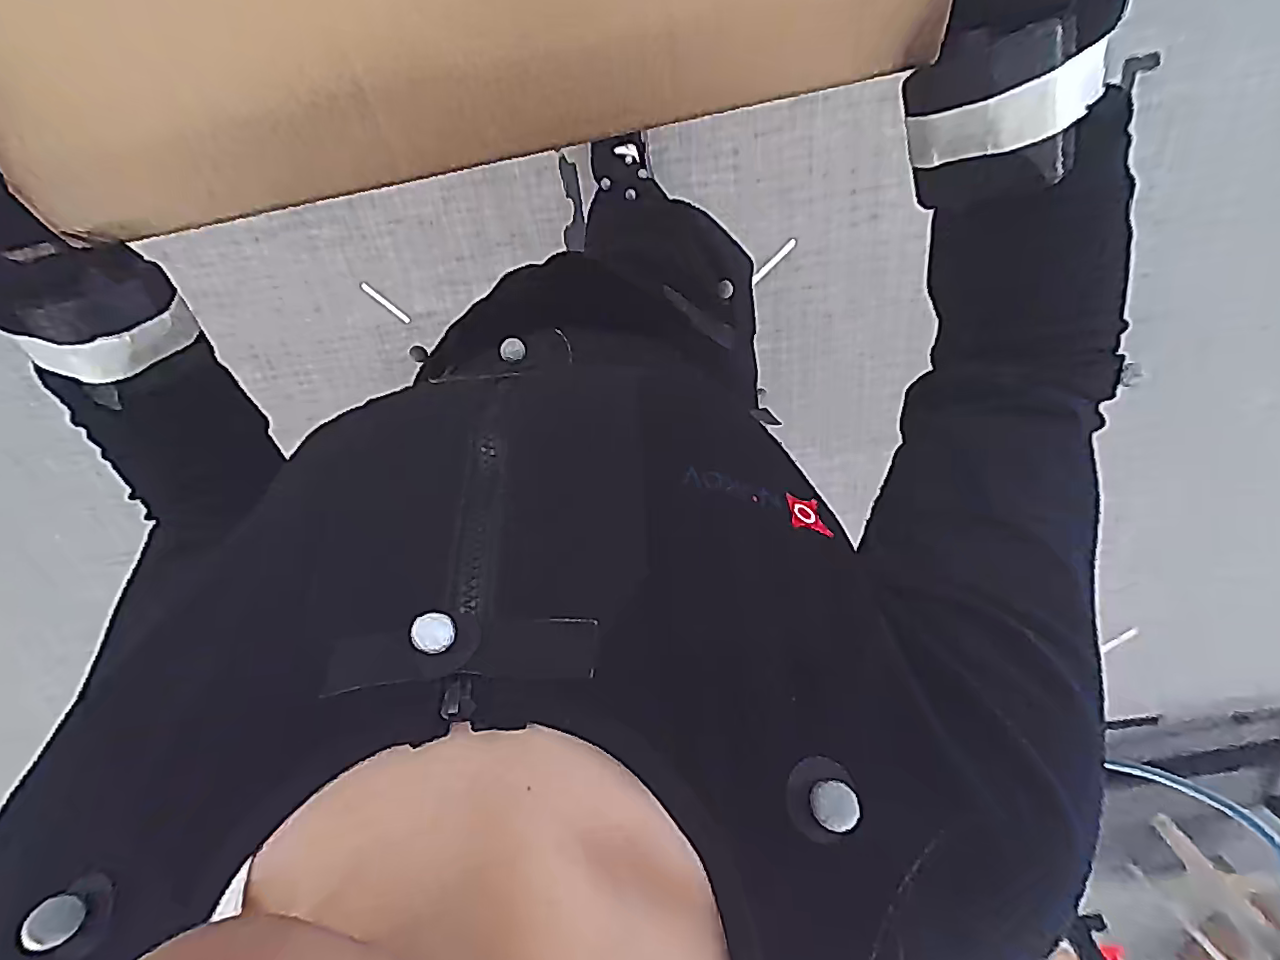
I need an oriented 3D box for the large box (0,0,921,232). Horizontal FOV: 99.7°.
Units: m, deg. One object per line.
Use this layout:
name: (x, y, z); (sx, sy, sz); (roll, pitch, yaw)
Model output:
large box: (-0.111, -0.364, 0.229); (0.408, 0.320, 0.320); (-10, 140, 3)
